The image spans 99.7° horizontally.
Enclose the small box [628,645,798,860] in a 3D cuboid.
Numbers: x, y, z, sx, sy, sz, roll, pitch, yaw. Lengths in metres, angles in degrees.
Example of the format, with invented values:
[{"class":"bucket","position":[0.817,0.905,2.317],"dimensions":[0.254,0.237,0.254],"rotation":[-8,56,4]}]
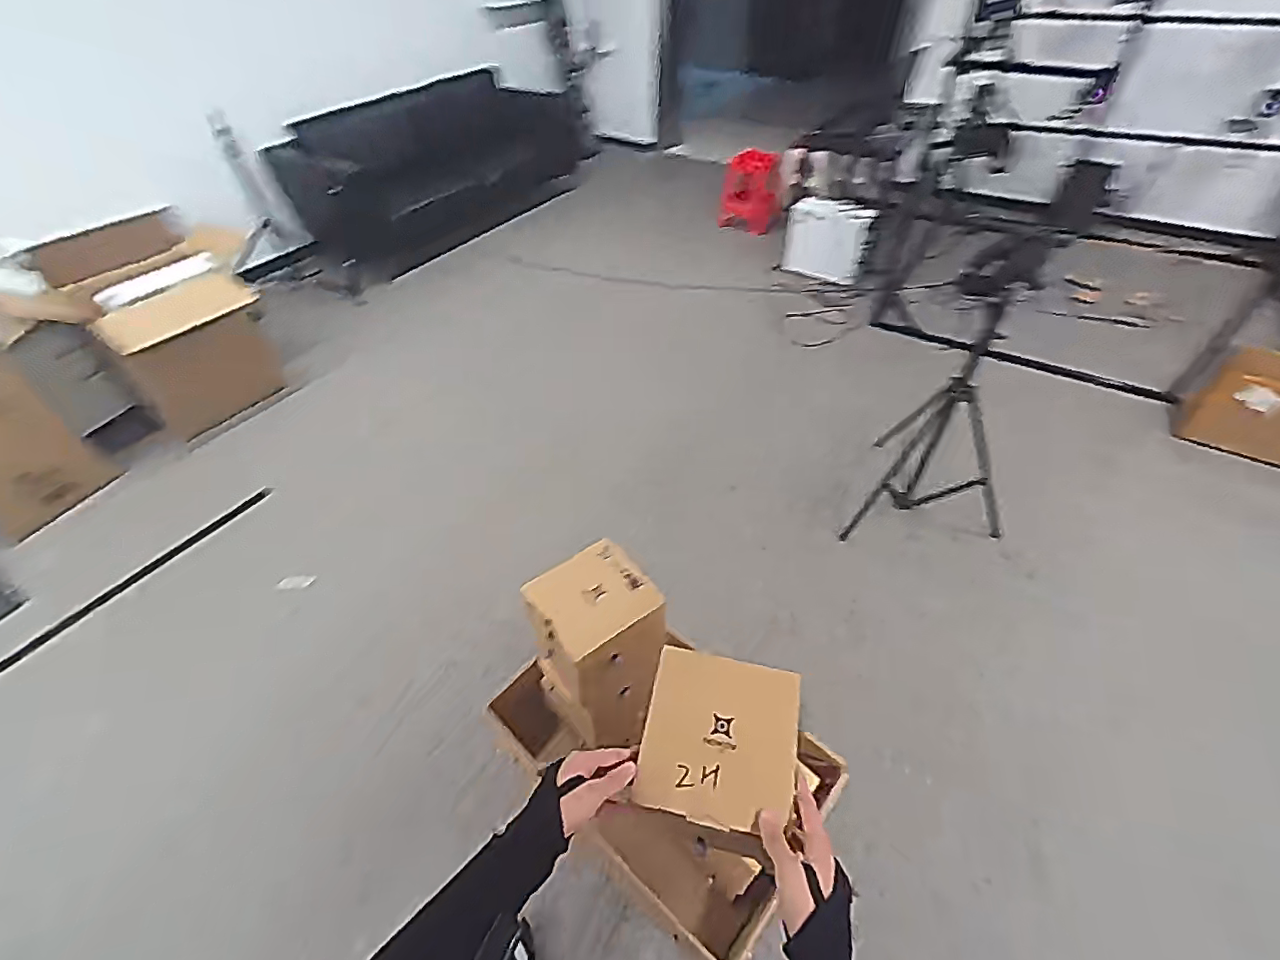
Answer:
[{"class":"small box","position":[0.089,0.329,0.653],"dimensions":[0.168,0.176,0.179],"rotation":[9,52,11]}]

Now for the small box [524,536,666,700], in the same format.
[{"class":"small box","position":[-0.070,0.235,0.912],"dimensions":[0.179,0.176,0.168],"rotation":[-28,52,-24]}]

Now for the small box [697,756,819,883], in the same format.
[{"class":"small box","position":[0.156,0.507,0.873],"dimensions":[0.179,0.176,0.168],"rotation":[34,54,31]}]

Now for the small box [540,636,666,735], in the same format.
[{"class":"small box","position":[-0.066,0.347,1.033],"dimensions":[0.179,0.176,0.168],"rotation":[-31,52,-28]}]
